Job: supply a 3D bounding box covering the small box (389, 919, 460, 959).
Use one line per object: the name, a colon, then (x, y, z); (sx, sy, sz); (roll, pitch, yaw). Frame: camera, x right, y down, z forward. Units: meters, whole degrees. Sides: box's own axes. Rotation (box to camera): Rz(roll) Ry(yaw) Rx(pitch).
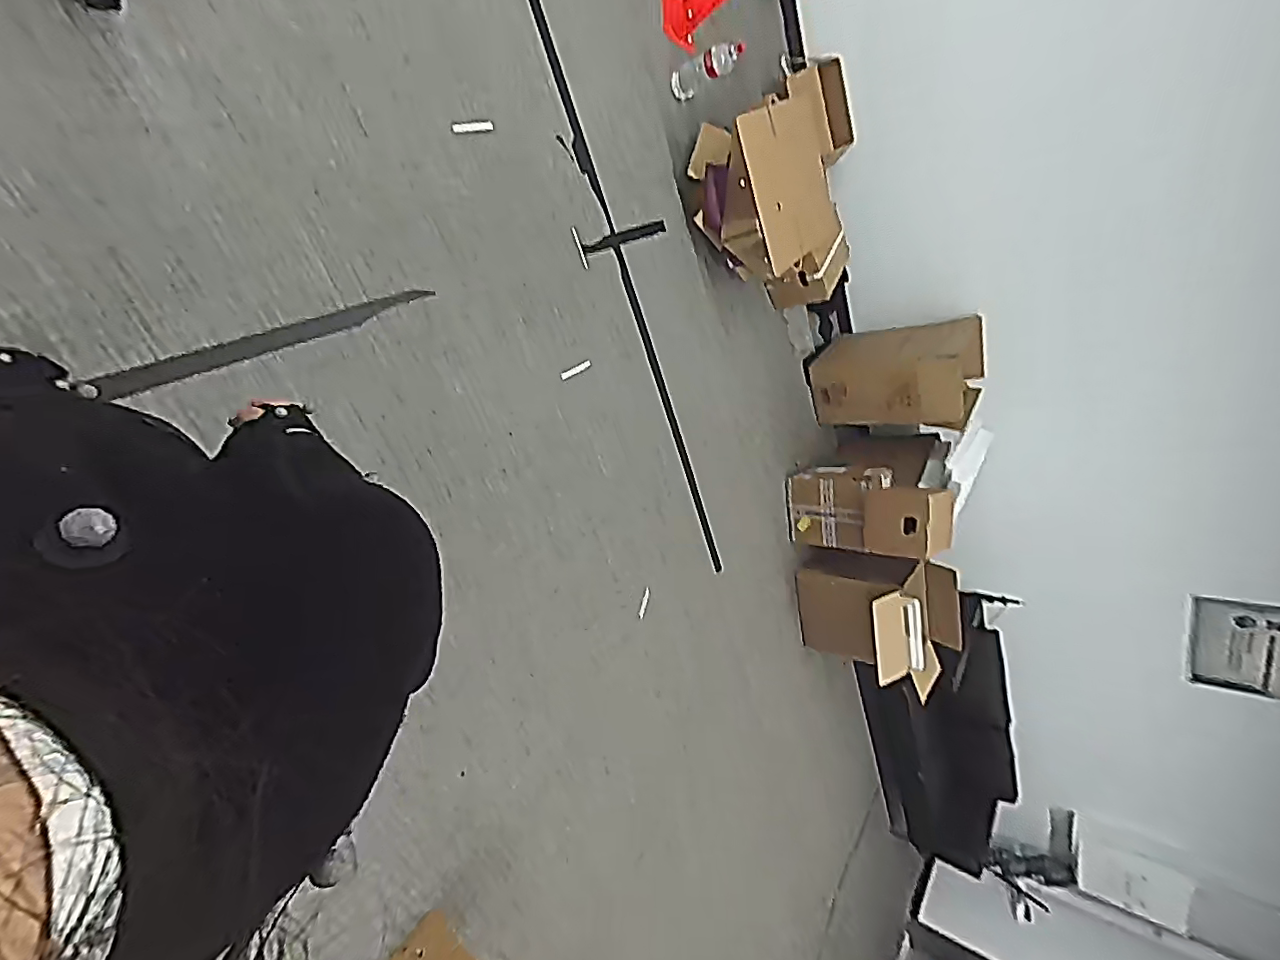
small box: (-0.604, 1.420, 1.555); (0.168, 0.176, 0.179); (-37, 118, -40)
